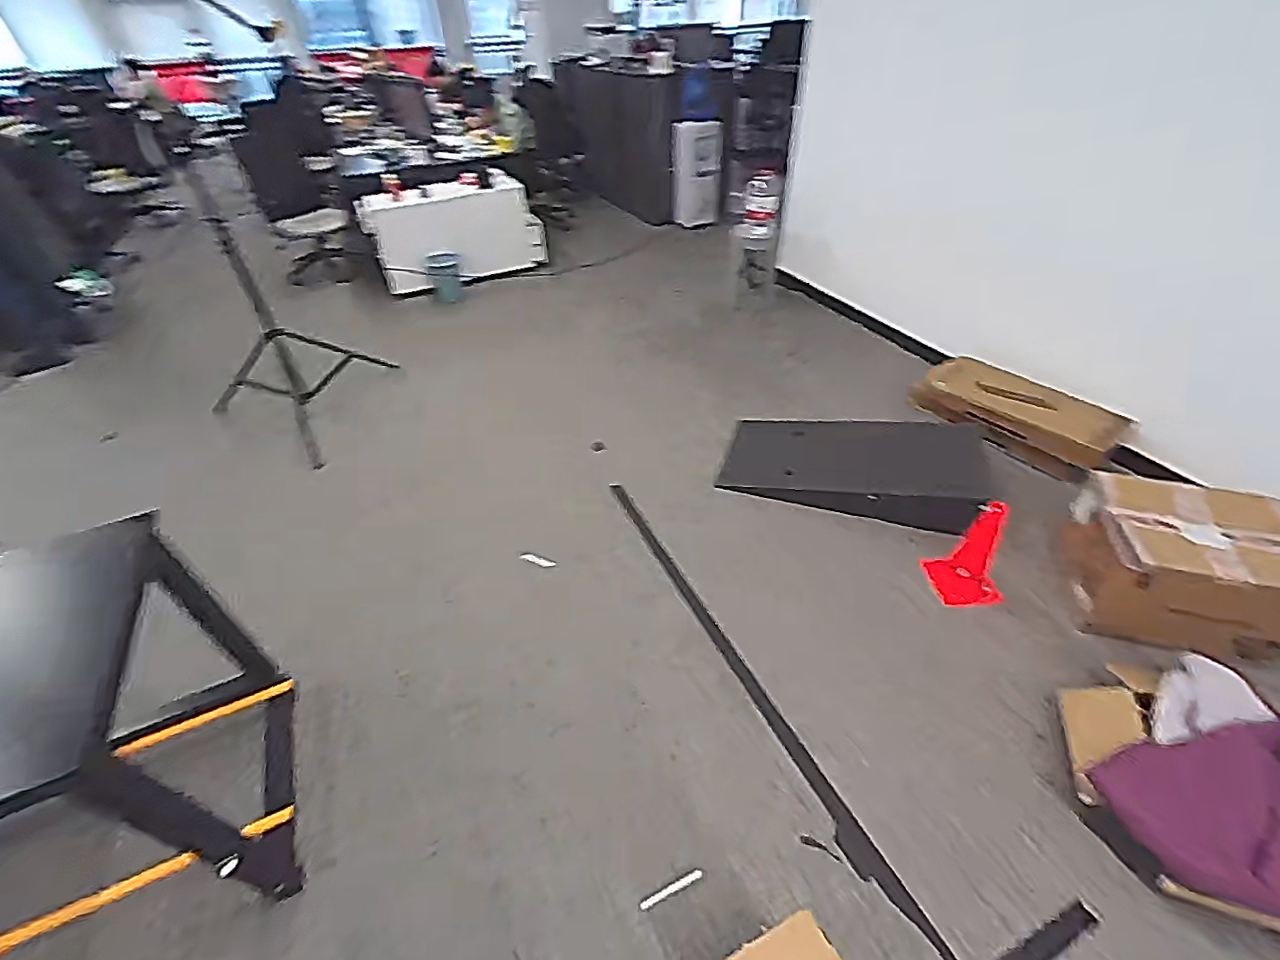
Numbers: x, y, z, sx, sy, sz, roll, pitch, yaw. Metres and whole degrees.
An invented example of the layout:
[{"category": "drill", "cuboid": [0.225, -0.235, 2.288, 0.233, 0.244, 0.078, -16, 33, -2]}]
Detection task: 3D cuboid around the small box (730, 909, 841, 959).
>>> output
[{"category": "small box", "cuboid": [0.259, 0.881, 0.918, 0.179, 0.176, 0.168, -20, 42, -16]}]
